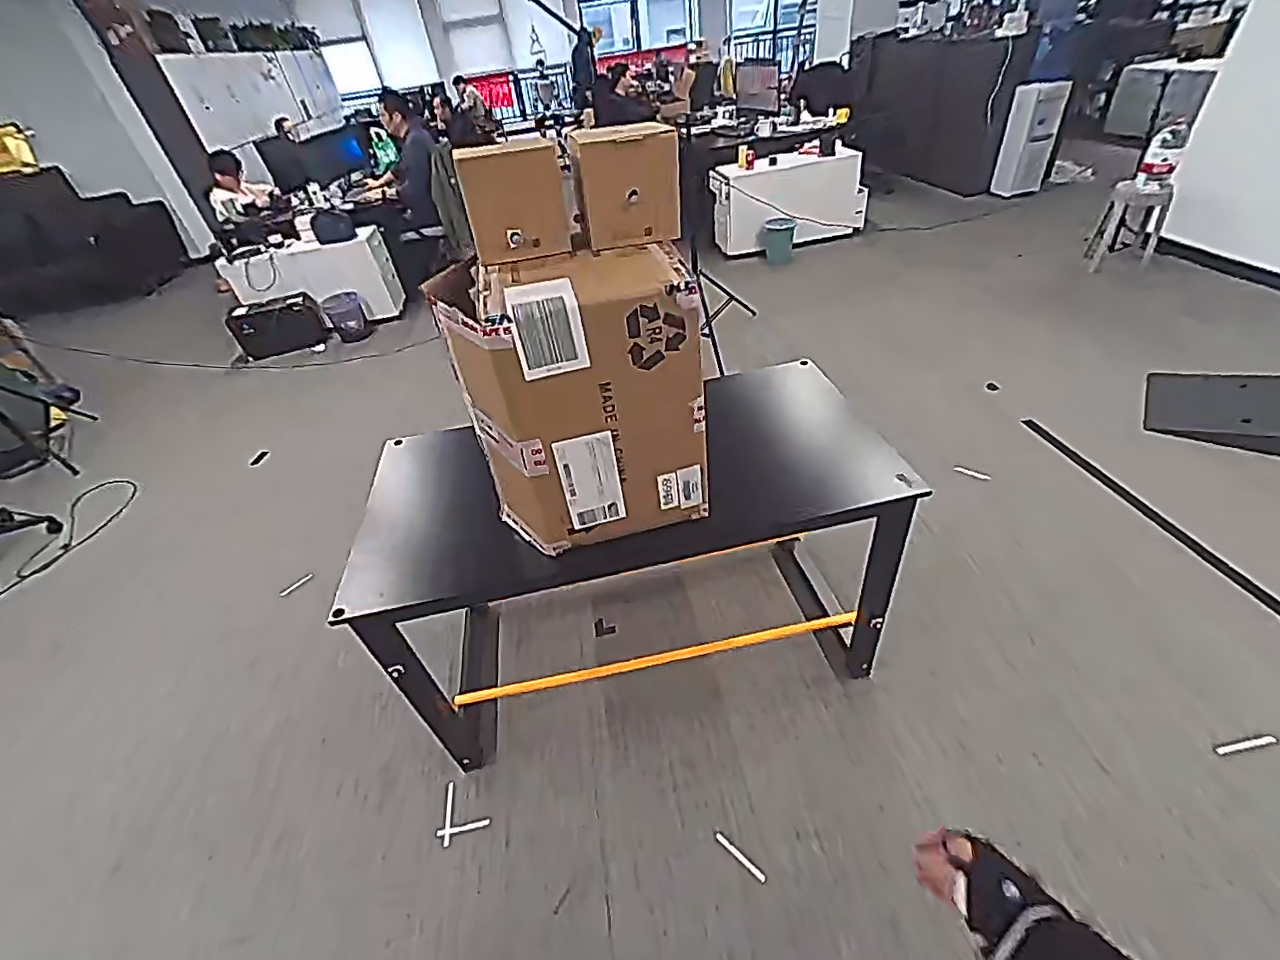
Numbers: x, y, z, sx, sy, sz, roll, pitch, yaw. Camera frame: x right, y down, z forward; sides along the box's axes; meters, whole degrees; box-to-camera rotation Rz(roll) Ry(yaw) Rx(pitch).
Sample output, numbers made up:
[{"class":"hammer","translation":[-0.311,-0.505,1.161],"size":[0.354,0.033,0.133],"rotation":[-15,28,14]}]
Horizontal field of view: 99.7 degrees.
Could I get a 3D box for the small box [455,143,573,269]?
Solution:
[{"class":"small box","translation":[-0.227,-0.495,0.976],"size":[0.168,0.176,0.179],"rotation":[-15,38,-9]}]
